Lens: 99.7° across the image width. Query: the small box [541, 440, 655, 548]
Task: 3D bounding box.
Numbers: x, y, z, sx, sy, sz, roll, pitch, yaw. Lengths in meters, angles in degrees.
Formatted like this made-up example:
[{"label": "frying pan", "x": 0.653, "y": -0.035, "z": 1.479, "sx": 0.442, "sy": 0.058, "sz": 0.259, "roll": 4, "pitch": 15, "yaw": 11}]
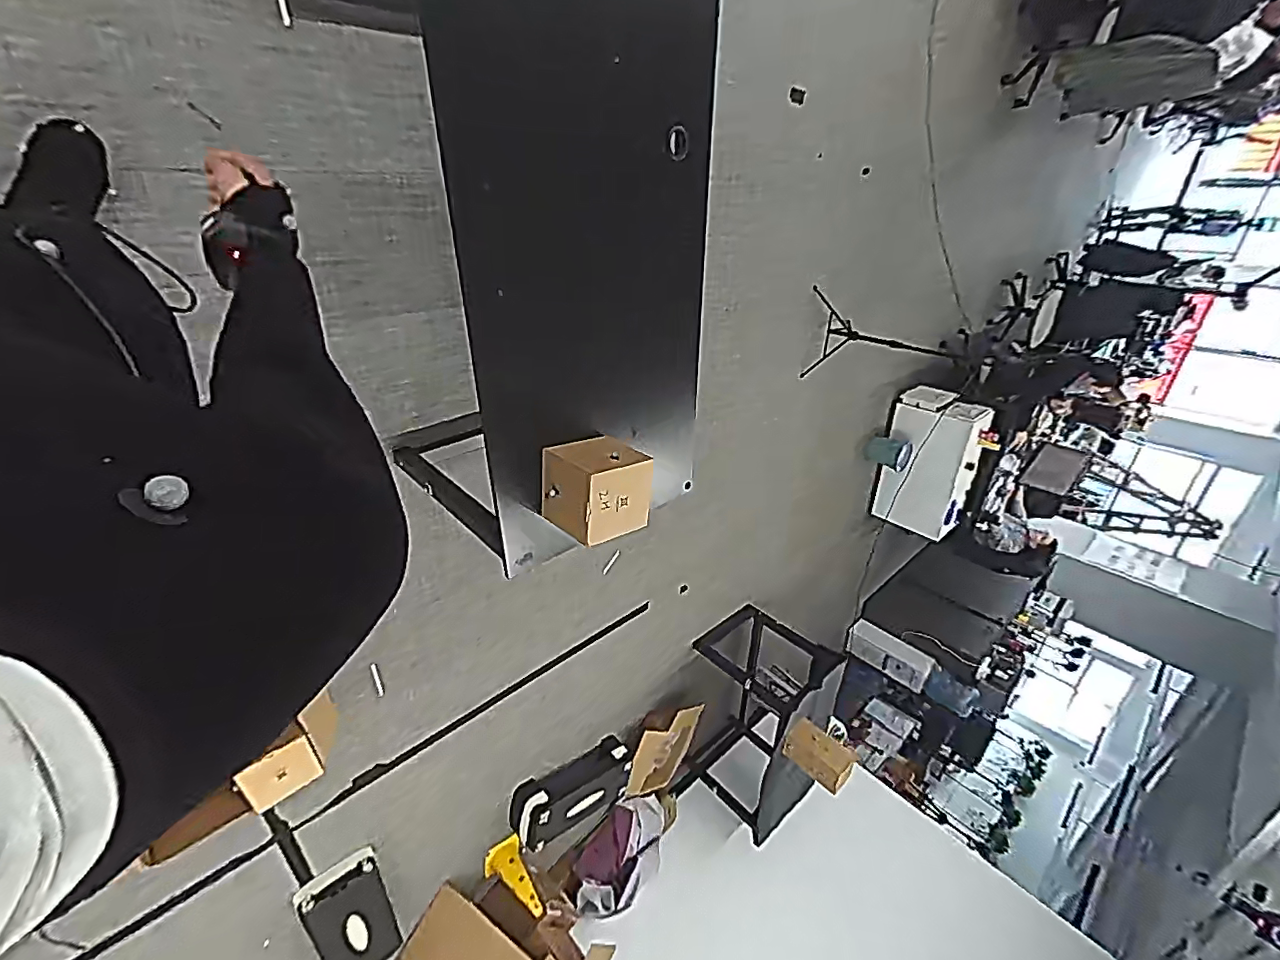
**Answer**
[{"label": "small box", "x": -0.094, "y": 0.021, "z": 1.176, "sx": 0.179, "sy": 0.176, "sz": 0.168, "roll": -16, "pitch": 121, "yaw": -41}]
